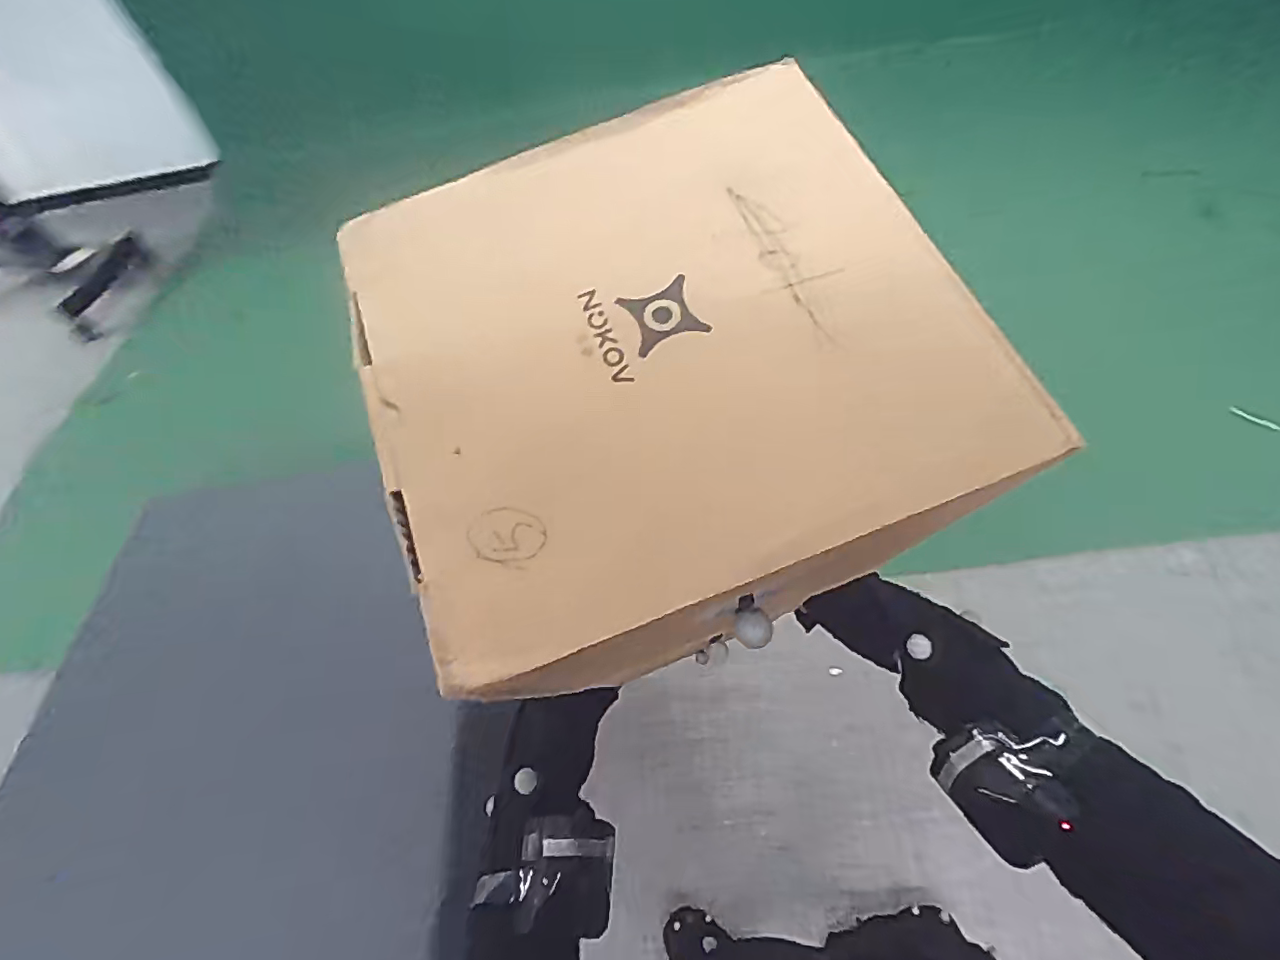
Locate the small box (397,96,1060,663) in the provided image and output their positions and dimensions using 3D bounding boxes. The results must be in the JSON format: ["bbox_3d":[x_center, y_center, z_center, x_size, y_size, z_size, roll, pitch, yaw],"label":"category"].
[{"bbox_3d":[0.022,-0.022,0.254,0.179,0.176,0.168,-21,70,-3],"label":"small box"}]
